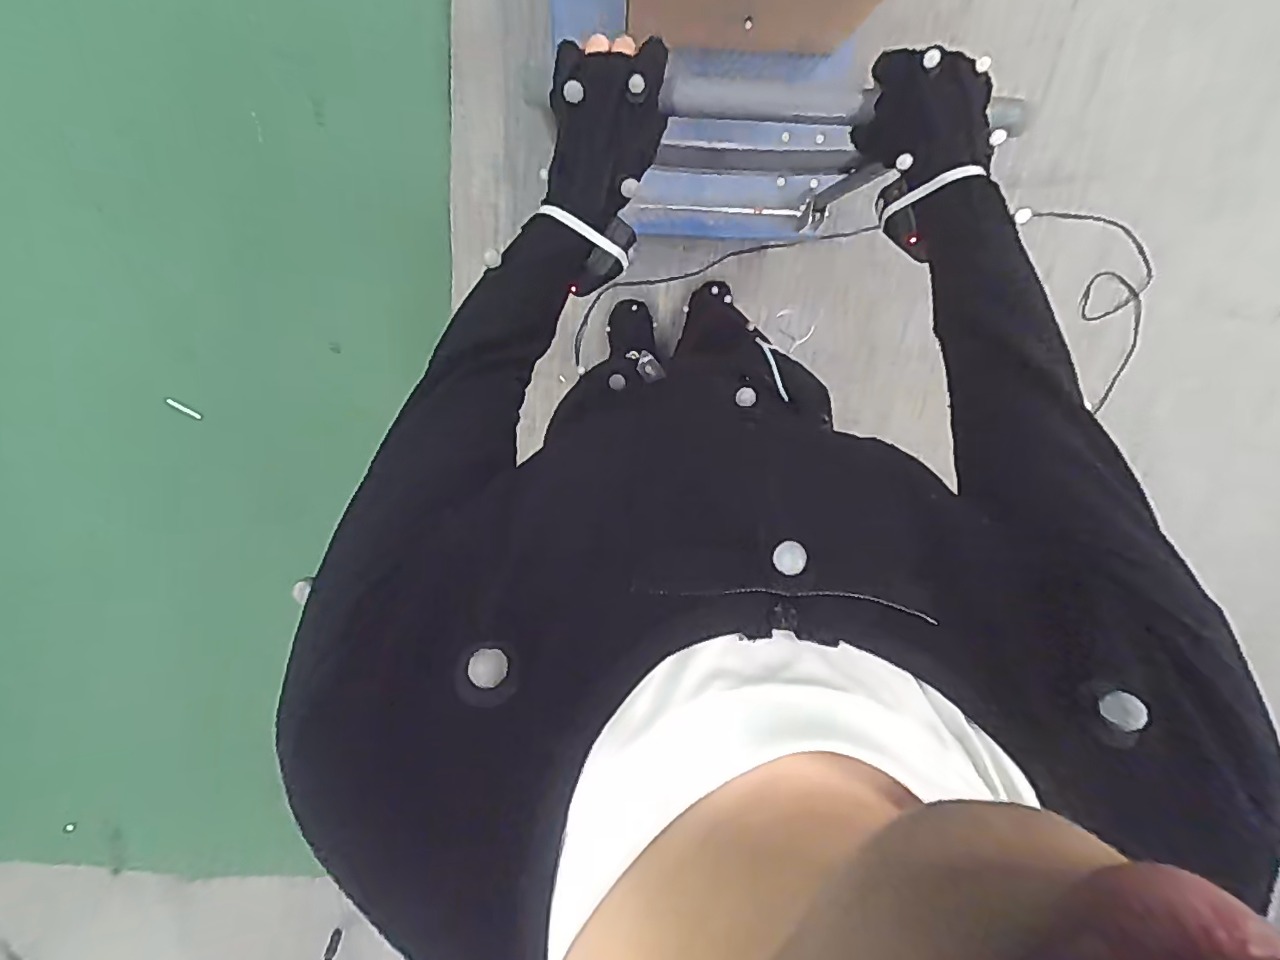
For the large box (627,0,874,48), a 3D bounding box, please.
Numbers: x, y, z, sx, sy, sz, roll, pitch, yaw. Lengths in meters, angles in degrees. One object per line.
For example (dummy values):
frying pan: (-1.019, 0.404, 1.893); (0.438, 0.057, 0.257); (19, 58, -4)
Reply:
large box: (0.181, -0.924, 0.853); (0.408, 0.320, 0.320); (0, 109, -1)
